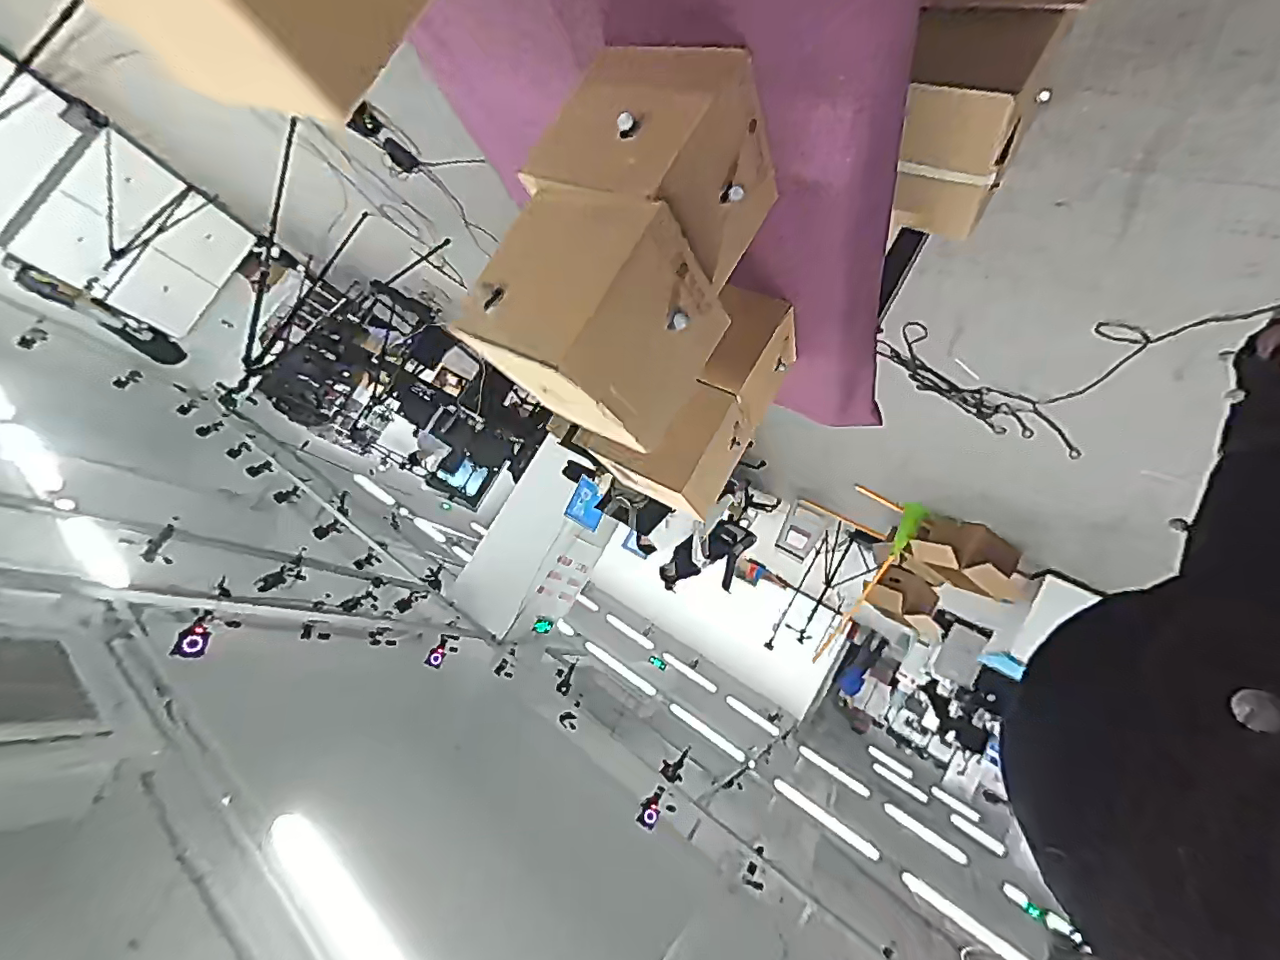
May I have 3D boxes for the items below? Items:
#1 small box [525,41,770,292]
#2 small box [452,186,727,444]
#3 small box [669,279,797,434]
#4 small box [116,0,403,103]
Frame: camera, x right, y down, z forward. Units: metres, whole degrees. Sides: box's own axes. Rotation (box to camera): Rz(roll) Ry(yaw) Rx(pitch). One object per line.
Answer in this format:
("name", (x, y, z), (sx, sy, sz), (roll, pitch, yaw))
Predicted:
("small box", (0.021, -0.319, 0.569), (0.179, 0.176, 0.168), (27, 172, 30))
("small box", (-0.044, -0.167, 0.545), (0.179, 0.176, 0.168), (26, 173, 36))
("small box", (0.138, -0.207, 0.885), (0.179, 0.176, 0.168), (27, 172, 25))
("small box", (-0.176, -0.294, 0.211), (0.179, 0.176, 0.168), (28, 174, 29))
